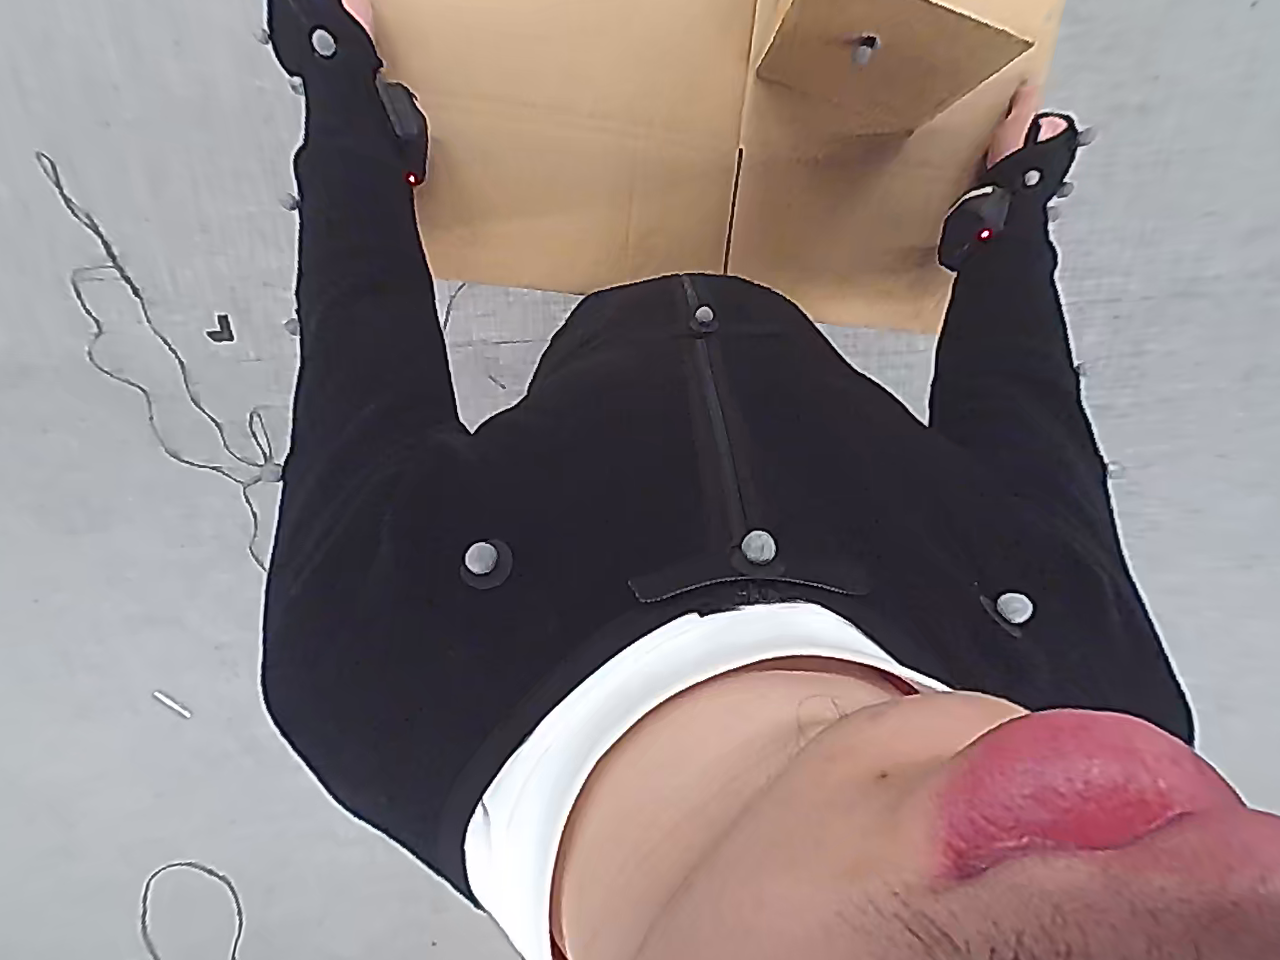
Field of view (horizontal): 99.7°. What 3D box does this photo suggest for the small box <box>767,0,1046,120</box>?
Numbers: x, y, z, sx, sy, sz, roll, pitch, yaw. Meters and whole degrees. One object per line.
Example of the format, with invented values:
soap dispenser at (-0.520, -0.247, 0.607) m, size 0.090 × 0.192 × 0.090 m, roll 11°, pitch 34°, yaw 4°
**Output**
small box at (0.224, -0.438, 0.449) m, size 0.179 × 0.176 × 0.168 m, roll 15°, pitch 103°, yaw -5°
